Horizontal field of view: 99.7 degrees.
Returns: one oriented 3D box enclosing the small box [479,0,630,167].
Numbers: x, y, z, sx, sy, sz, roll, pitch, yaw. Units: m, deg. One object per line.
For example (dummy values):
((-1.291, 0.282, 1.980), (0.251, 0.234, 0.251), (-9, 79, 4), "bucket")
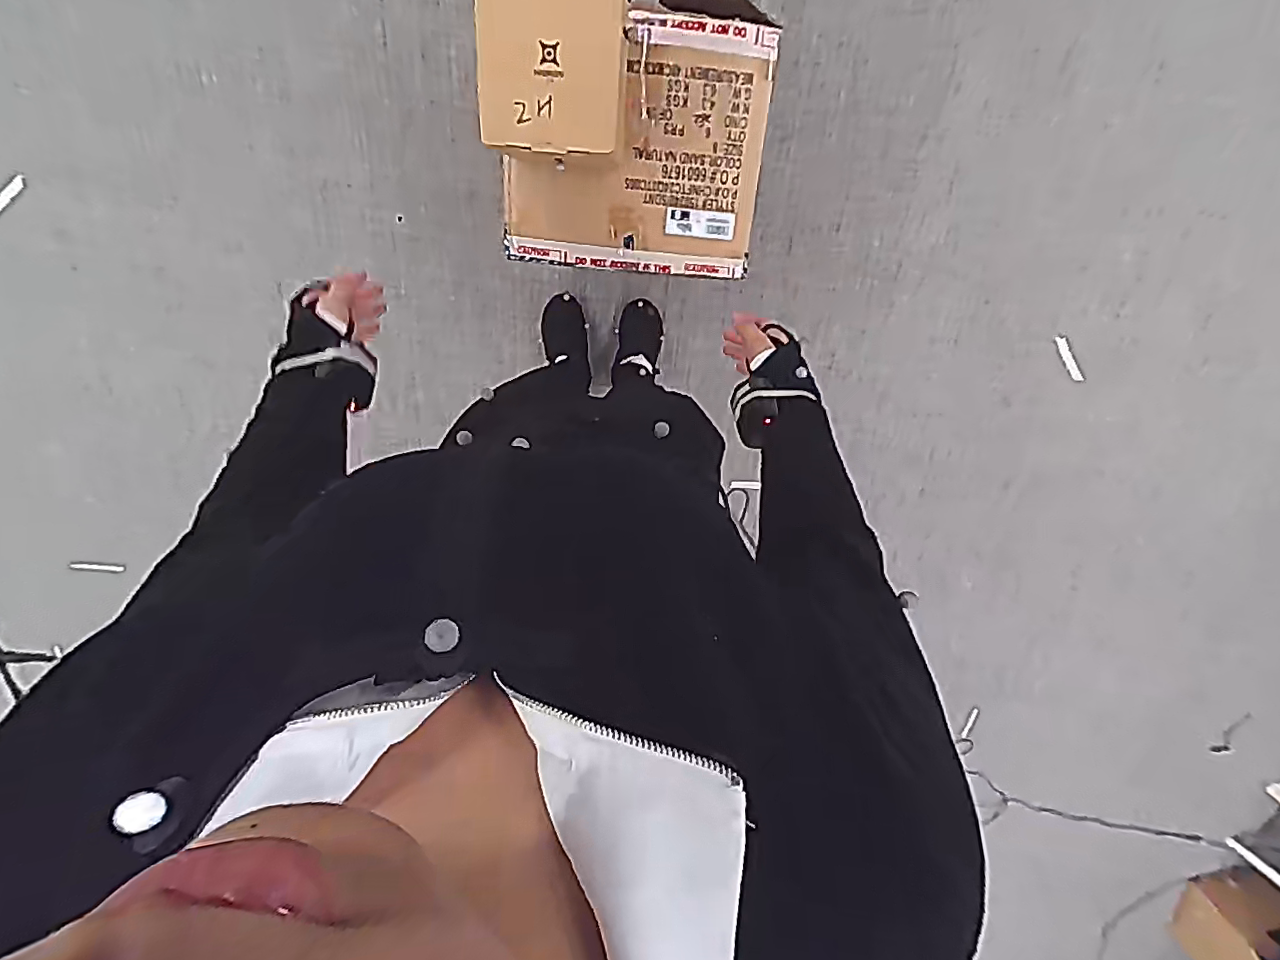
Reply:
((-0.101, -0.516, 0.695), (0.168, 0.176, 0.179), (4, 116, -1), "small box")
